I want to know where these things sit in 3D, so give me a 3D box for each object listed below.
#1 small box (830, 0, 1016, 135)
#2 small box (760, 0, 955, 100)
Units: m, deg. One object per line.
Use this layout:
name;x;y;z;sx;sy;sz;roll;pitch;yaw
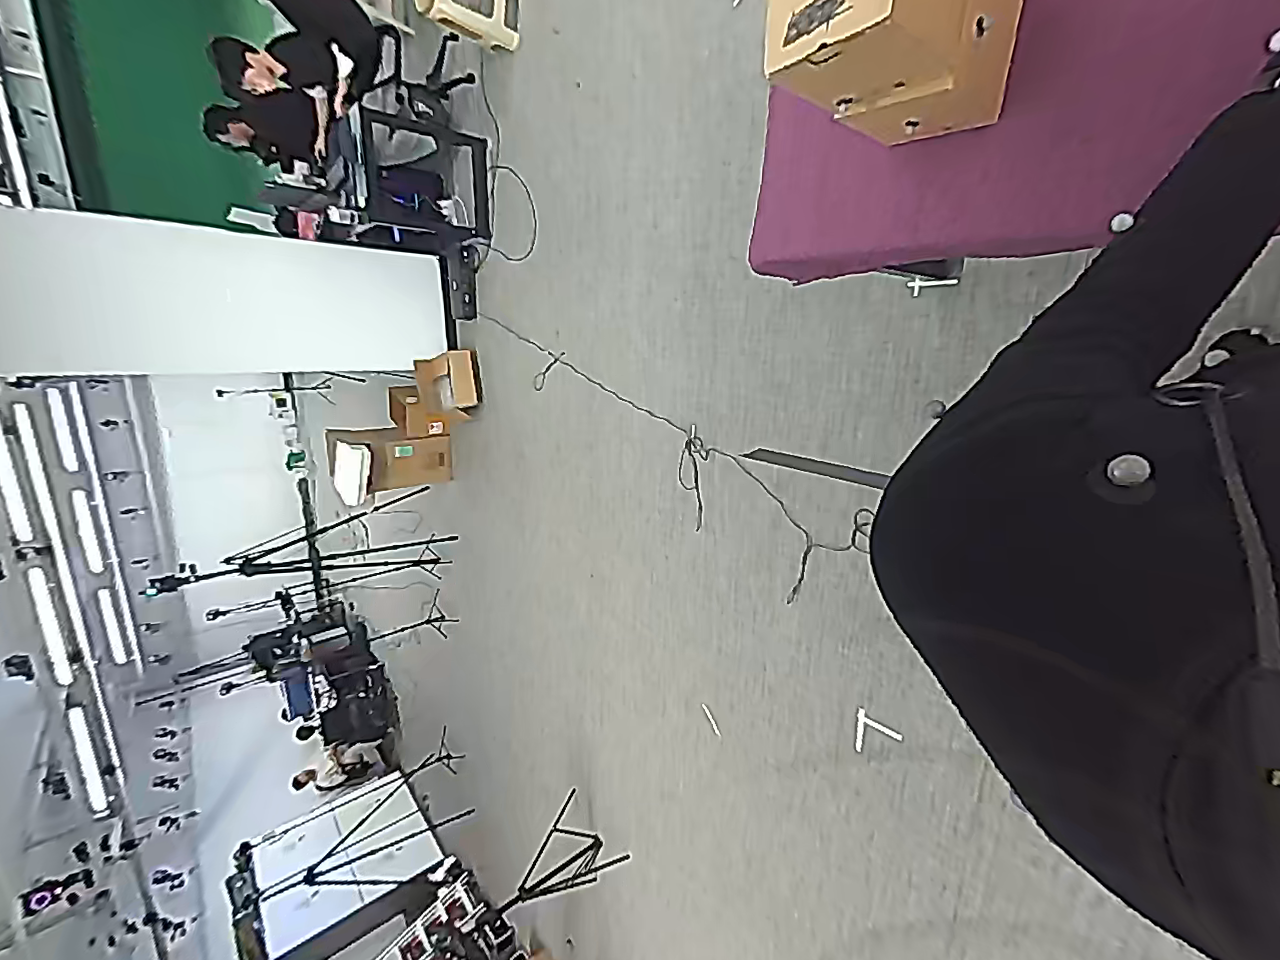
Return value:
small box;0.392;-0.602;0.751;0.168;0.176;0.179;21;115;45
small box;0.265;-0.588;0.648;0.168;0.176;0.179;16;110;47
